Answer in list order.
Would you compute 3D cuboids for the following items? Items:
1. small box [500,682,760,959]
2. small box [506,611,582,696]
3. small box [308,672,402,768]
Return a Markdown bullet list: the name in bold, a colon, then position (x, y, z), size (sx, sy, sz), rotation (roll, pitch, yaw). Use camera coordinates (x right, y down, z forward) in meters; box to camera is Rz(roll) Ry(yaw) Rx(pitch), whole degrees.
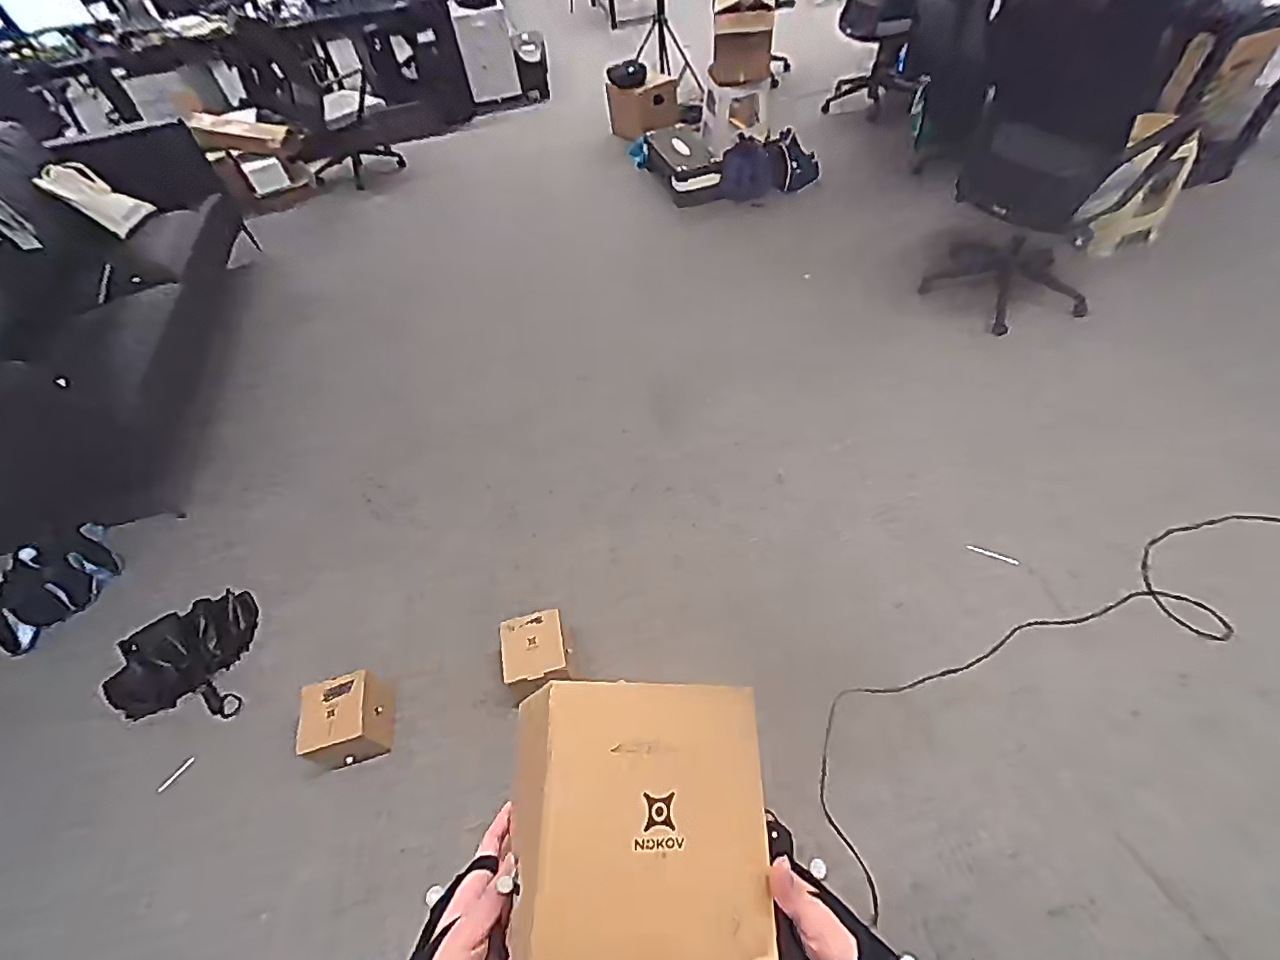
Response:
- **small box**: position (-0.022, 0.272, 0.452), size (0.168, 0.176, 0.179), rotation (7, 60, -18)
- **small box**: position (-0.266, 0.498, 1.519), size (0.168, 0.176, 0.179), rotation (-14, 52, -3)
- **small box**: position (-0.764, 0.654, 1.469), size (0.168, 0.176, 0.179), rotation (-17, 53, -4)
